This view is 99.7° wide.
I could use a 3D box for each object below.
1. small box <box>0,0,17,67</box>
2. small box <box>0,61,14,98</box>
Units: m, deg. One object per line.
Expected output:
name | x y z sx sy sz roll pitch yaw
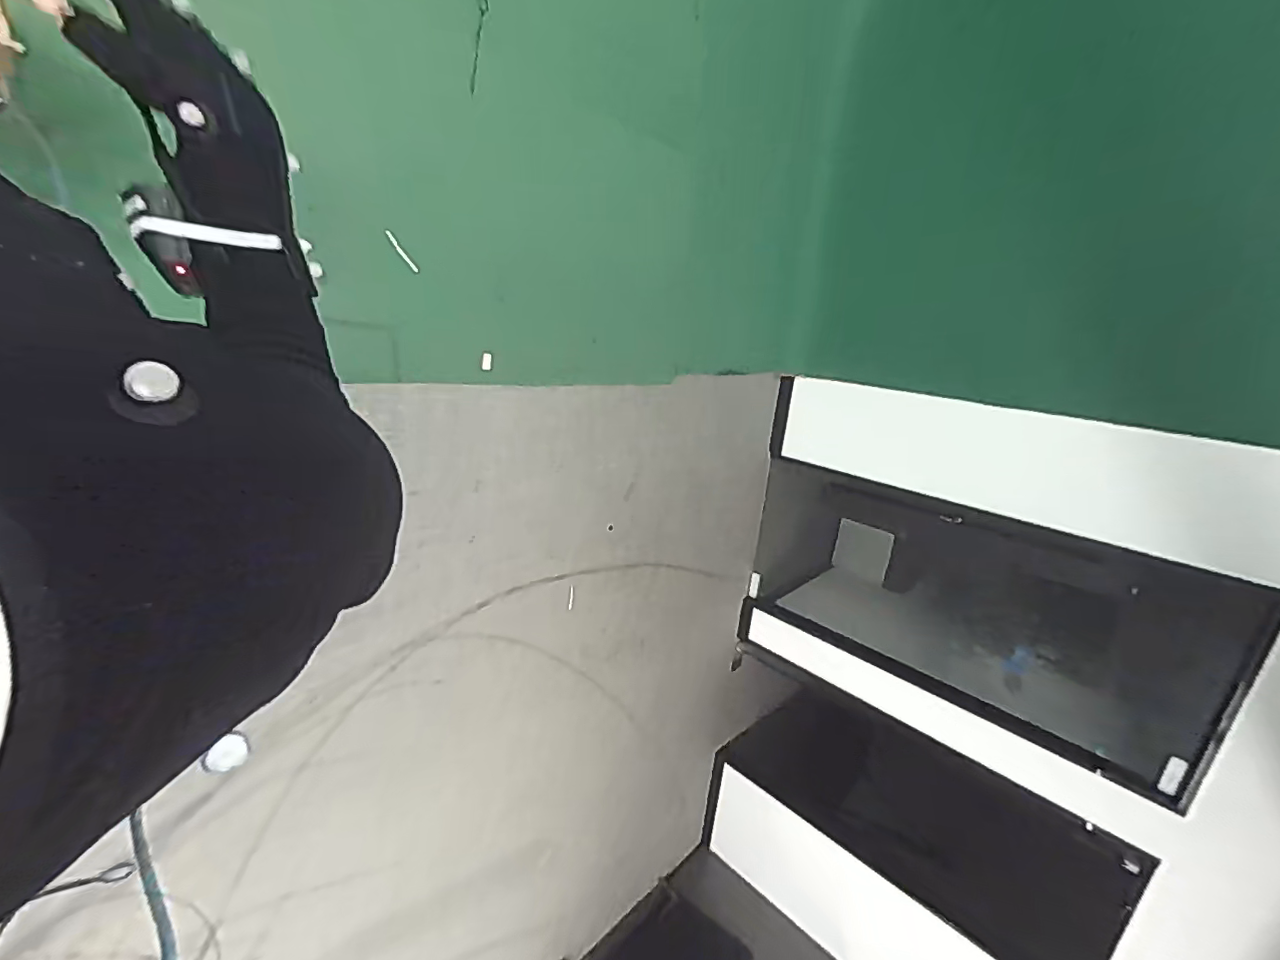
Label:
small box | -0.795 -0.568 0.563 0.179 0.176 0.168 -8 111 -47
small box | -0.921 -0.602 0.667 0.179 0.176 0.168 -11 114 -46
